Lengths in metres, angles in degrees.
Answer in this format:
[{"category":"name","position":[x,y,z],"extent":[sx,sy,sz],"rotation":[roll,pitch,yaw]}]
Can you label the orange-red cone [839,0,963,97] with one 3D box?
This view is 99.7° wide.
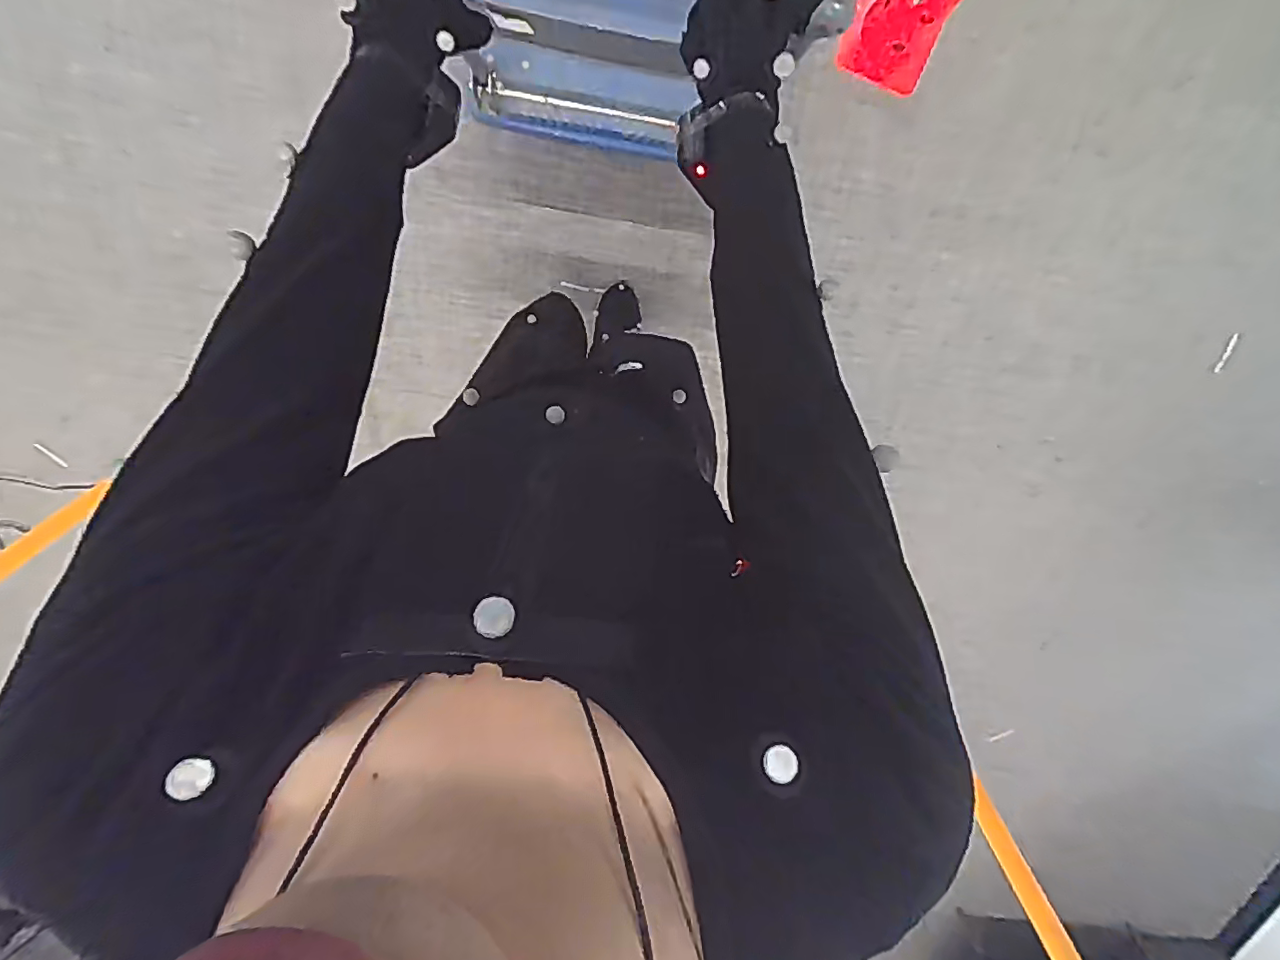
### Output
[{"category":"orange-red cone","position":[0.563,-0.917,1.027],"extent":[0.198,0.360,0.199],"rotation":[19,110,-8]}]
